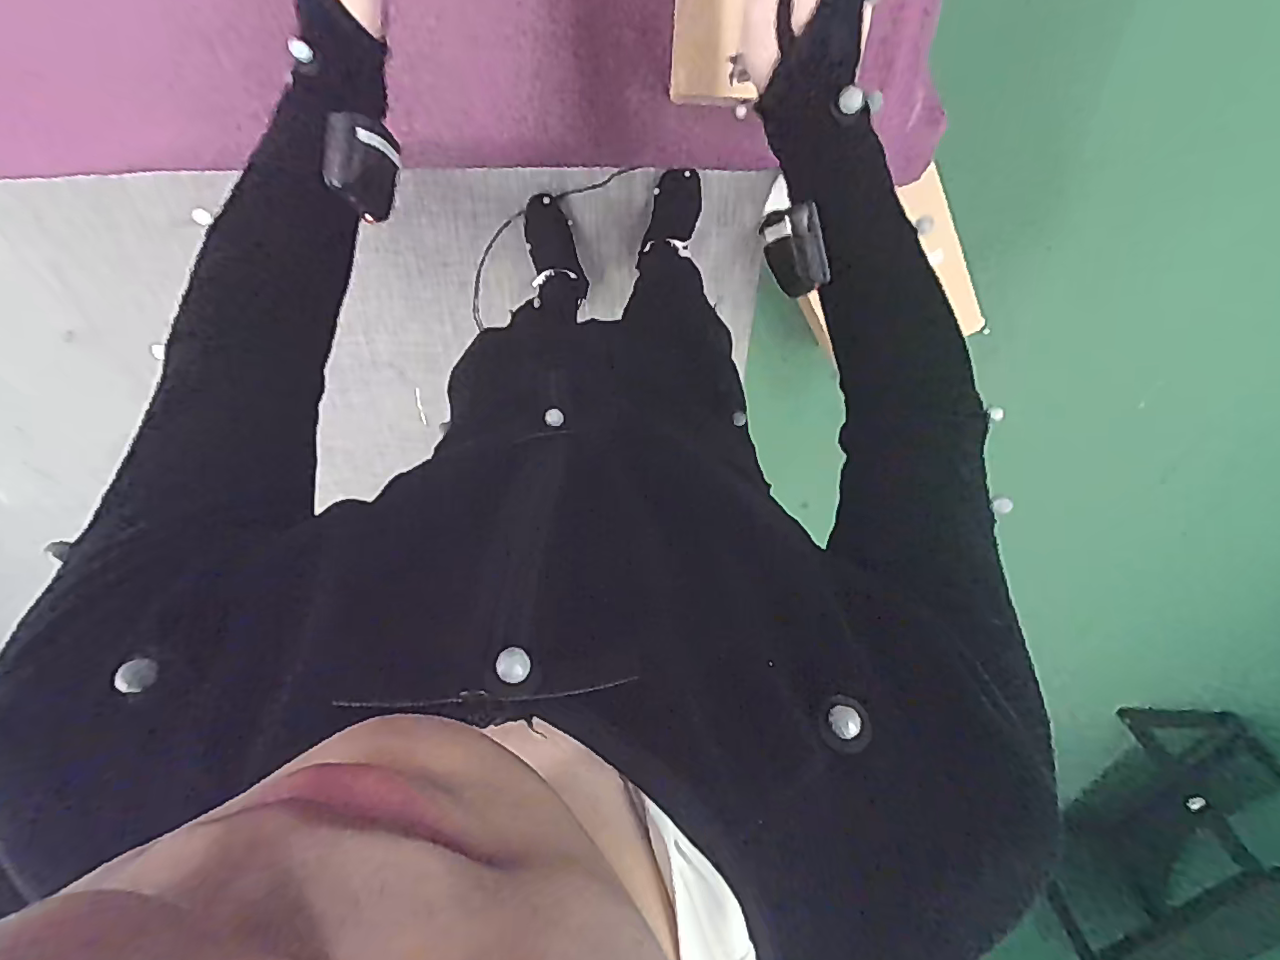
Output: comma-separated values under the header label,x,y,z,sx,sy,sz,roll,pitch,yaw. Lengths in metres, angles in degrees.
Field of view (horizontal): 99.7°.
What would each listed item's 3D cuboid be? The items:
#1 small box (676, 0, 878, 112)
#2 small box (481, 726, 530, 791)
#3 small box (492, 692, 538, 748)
label,x,y,z,sx,sy,sz,roll,pitch,yaw
small box,0.124,-0.469,0.521,0.168,0.176,0.179,3,122,0
small box,-0.562,1.170,2.272,0.168,0.176,0.179,10,123,-4
small box,-0.554,1.075,2.404,0.168,0.176,0.179,7,123,-1
